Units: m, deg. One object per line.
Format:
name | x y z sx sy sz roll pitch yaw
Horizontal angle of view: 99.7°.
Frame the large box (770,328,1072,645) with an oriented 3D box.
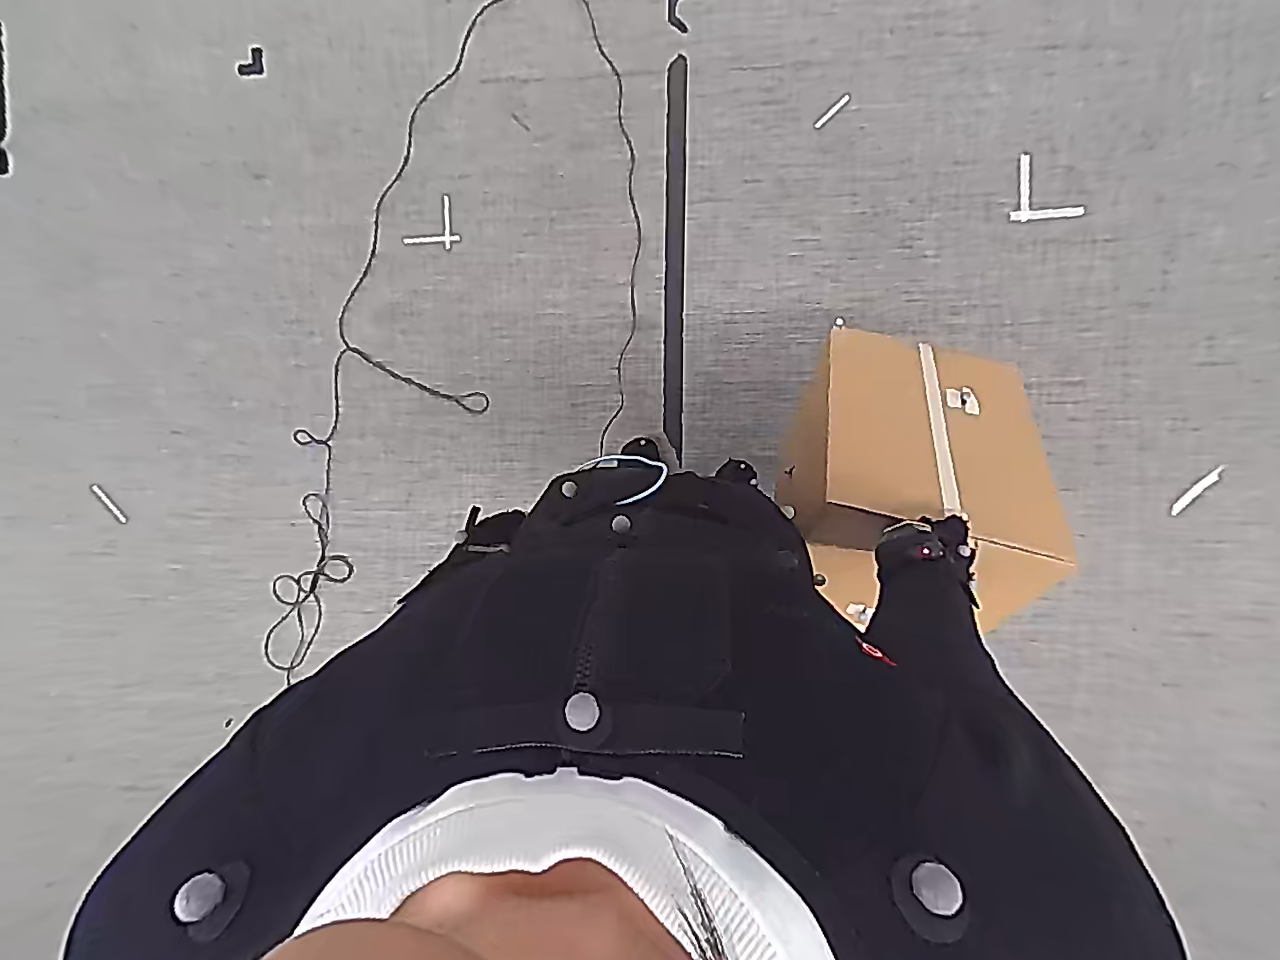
large box | 0.419 0.009 0.920 0.320 0.408 0.320 14 140 3
